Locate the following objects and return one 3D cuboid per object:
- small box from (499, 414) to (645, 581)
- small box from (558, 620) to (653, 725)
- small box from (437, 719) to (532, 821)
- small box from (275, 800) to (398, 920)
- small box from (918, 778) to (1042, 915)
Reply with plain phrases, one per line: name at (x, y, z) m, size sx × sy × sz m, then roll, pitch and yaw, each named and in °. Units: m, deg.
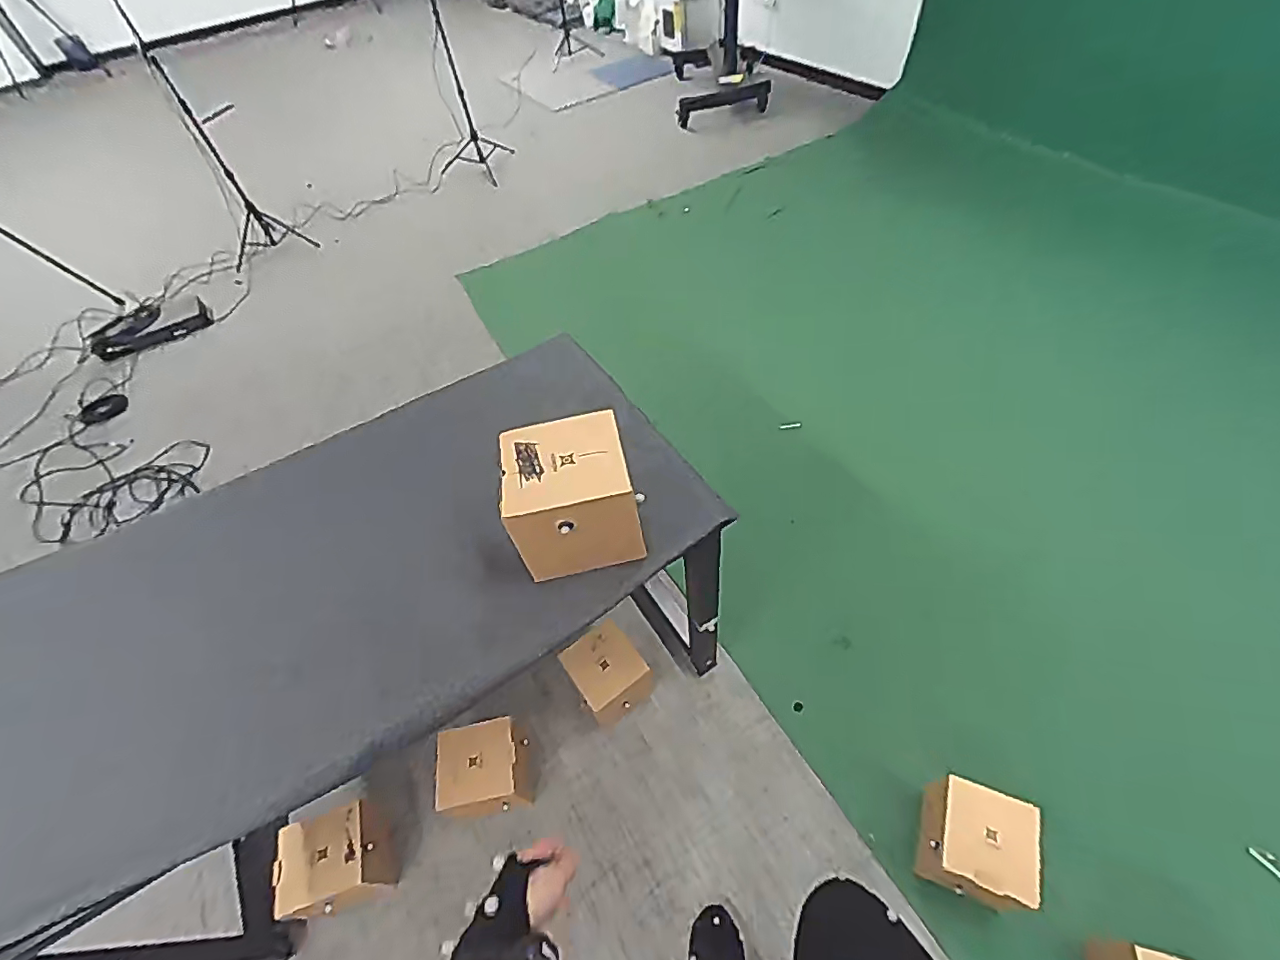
small box at (-0.099, 0.031, 0.810) m, size 0.179 × 0.176 × 0.168 m, roll -13°, pitch 50°, yaw -1°
small box at (-0.082, 0.498, 1.376) m, size 0.168 × 0.176 × 0.179 m, roll -33°, pitch 56°, yaw -18°
small box at (-0.357, 0.683, 1.270) m, size 0.179 × 0.176 × 0.168 m, roll -13°, pitch 52°, yaw -2°
small box at (-0.659, 0.836, 1.189) m, size 0.179 × 0.176 × 0.168 m, roll -19°, pitch 53°, yaw -7°
small box at (0.685, 0.742, 1.101) m, size 0.168 × 0.176 × 0.179 m, roll 16°, pitch 57°, yaw 18°
